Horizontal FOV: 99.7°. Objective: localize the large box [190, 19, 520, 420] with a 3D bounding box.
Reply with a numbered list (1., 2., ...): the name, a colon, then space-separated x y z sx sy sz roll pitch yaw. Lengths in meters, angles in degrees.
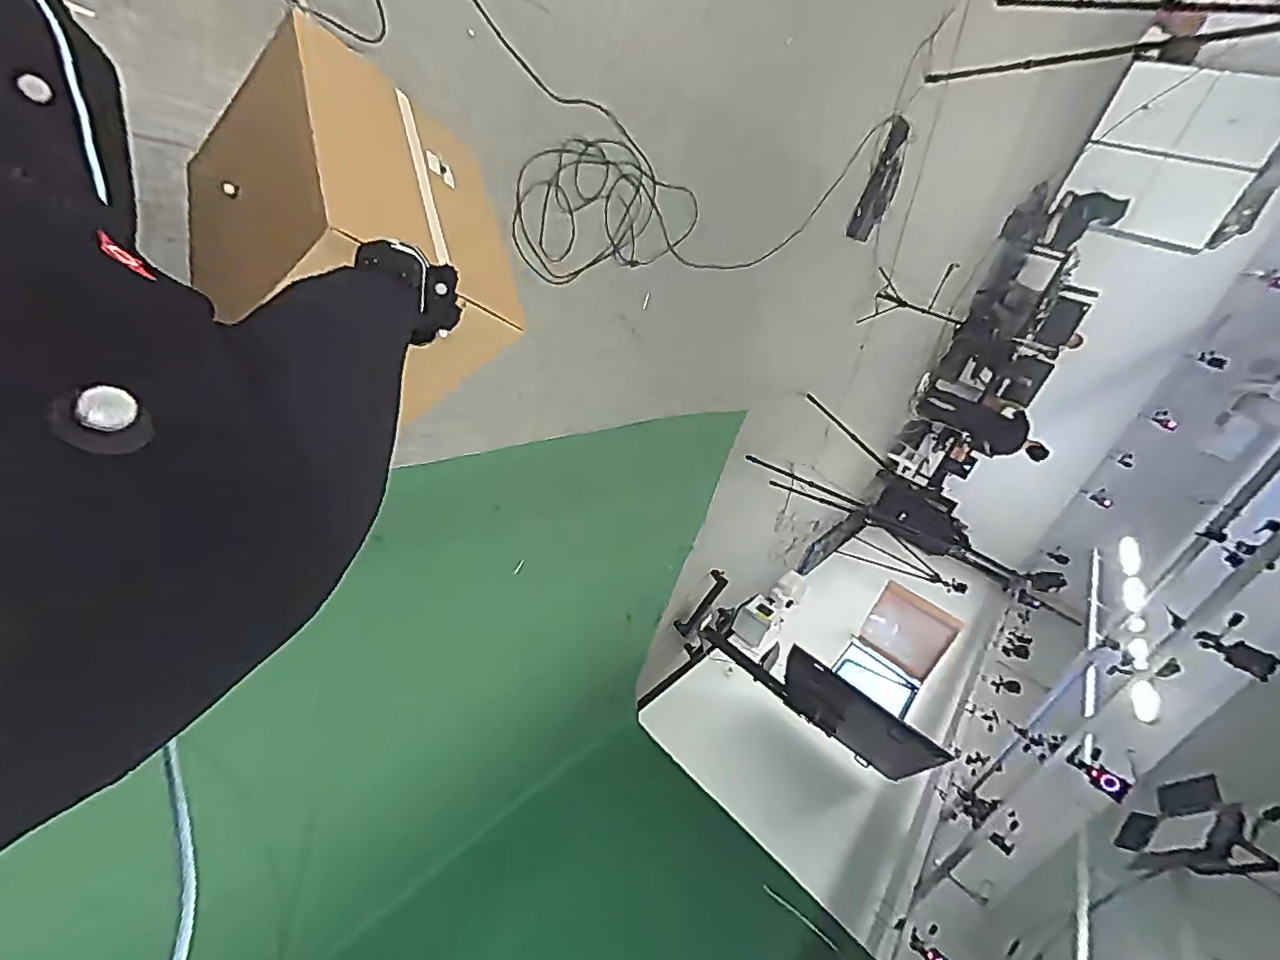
1. large box: -0.448 -0.359 0.849 0.320 0.408 0.320 -29 159 24
